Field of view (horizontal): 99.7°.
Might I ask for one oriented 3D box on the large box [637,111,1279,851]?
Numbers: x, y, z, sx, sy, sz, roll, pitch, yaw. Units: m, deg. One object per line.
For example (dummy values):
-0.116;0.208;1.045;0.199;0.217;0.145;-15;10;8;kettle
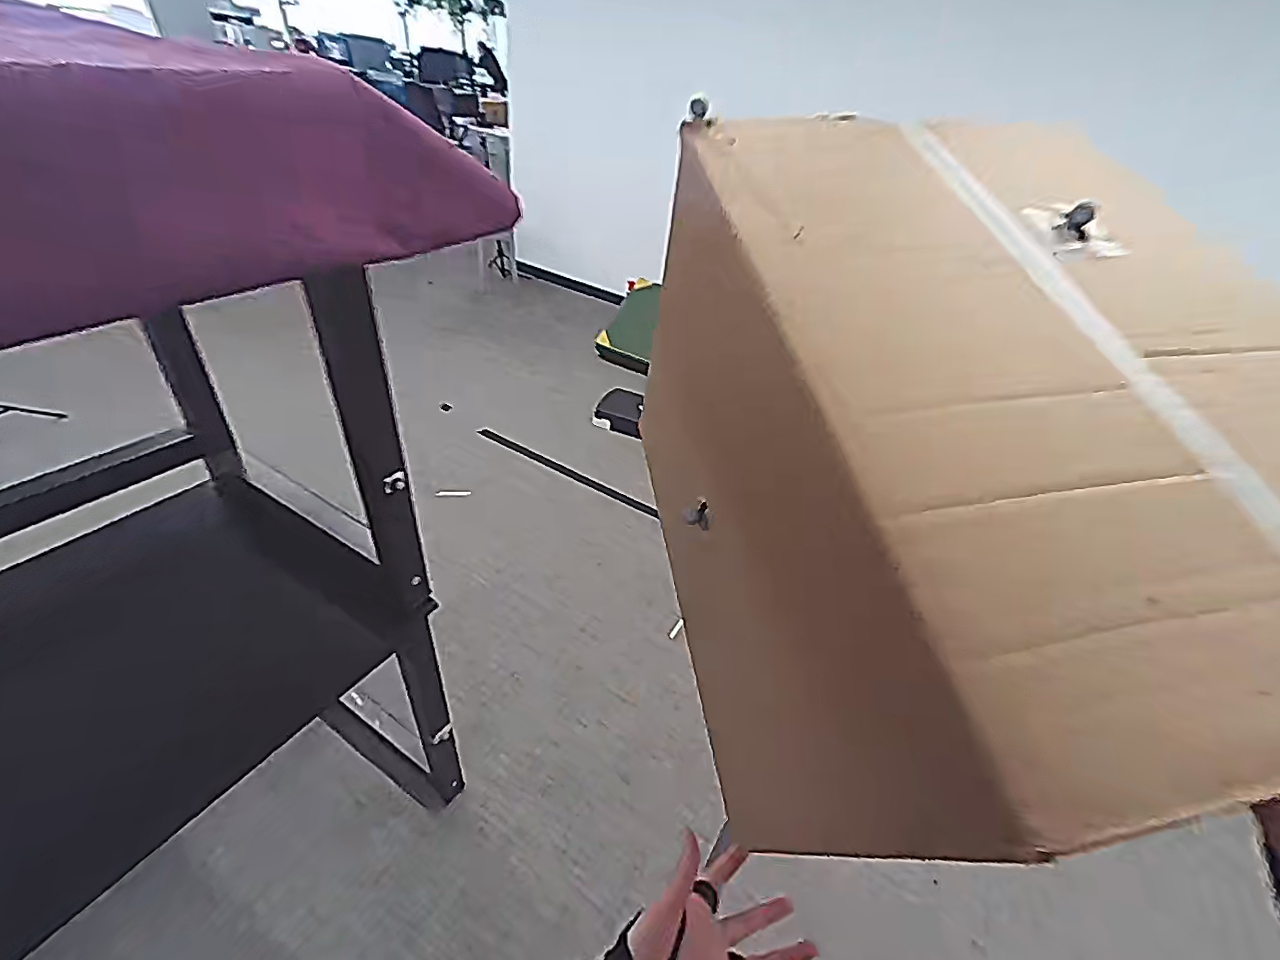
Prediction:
0.194;-0.003;0.394;0.320;0.320;0.408;-5;56;-12;large box
